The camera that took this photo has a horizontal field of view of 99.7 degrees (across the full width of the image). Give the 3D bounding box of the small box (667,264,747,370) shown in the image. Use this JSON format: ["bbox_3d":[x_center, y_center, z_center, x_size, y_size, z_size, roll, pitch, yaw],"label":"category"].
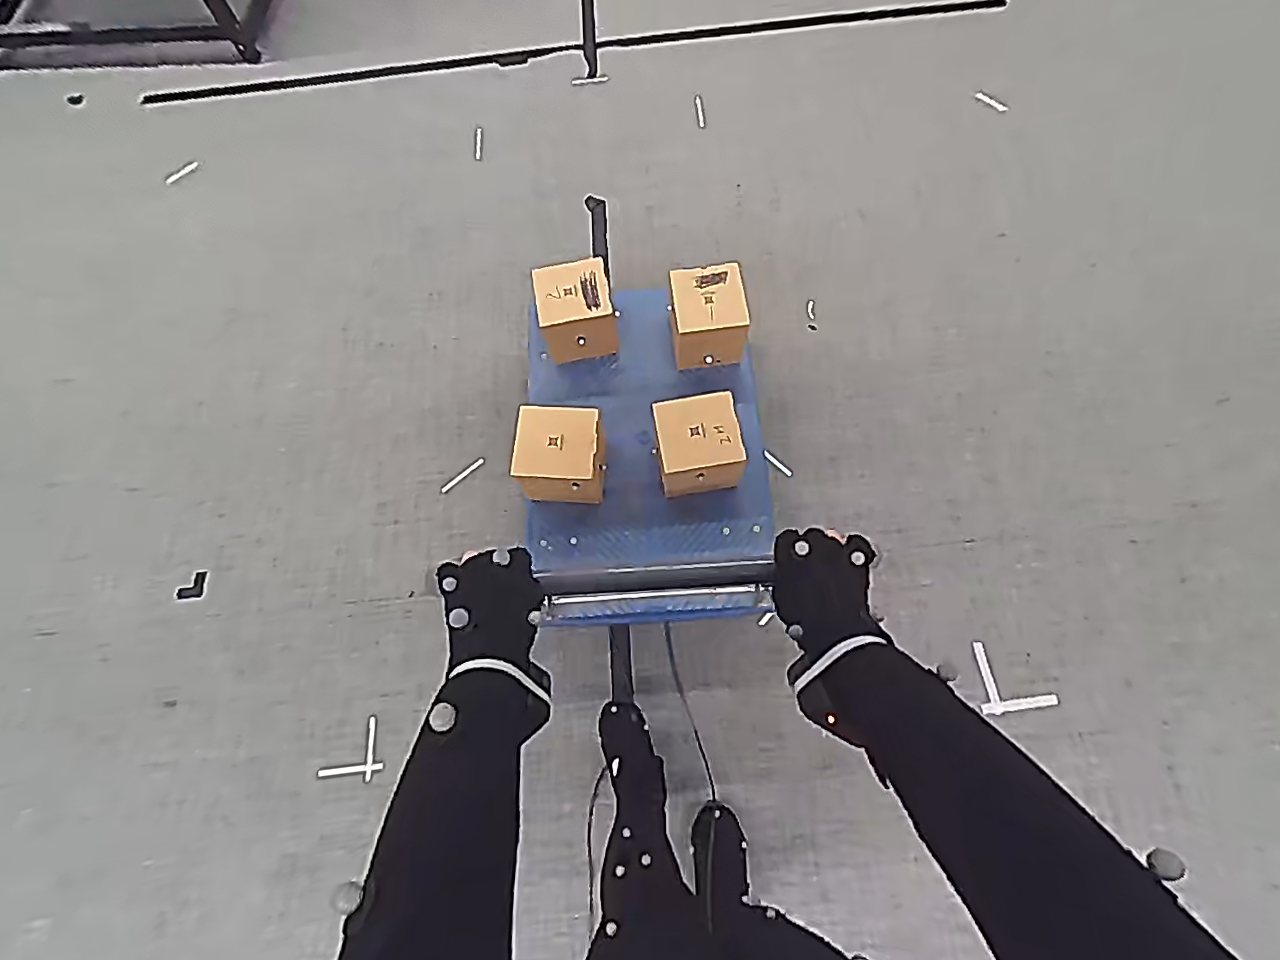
[{"bbox_3d":[0.155,-0.392,1.315,0.168,0.176,0.179,-7,72,1],"label":"small box"}]

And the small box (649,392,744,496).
[{"bbox_3d":[0.122,-0.073,1.208,0.179,0.176,0.168,-10,71,0],"label":"small box"}]

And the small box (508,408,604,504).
[{"bbox_3d":[-0.181,-0.049,1.216,0.179,0.176,0.168,2,71,2],"label":"small box"}]
